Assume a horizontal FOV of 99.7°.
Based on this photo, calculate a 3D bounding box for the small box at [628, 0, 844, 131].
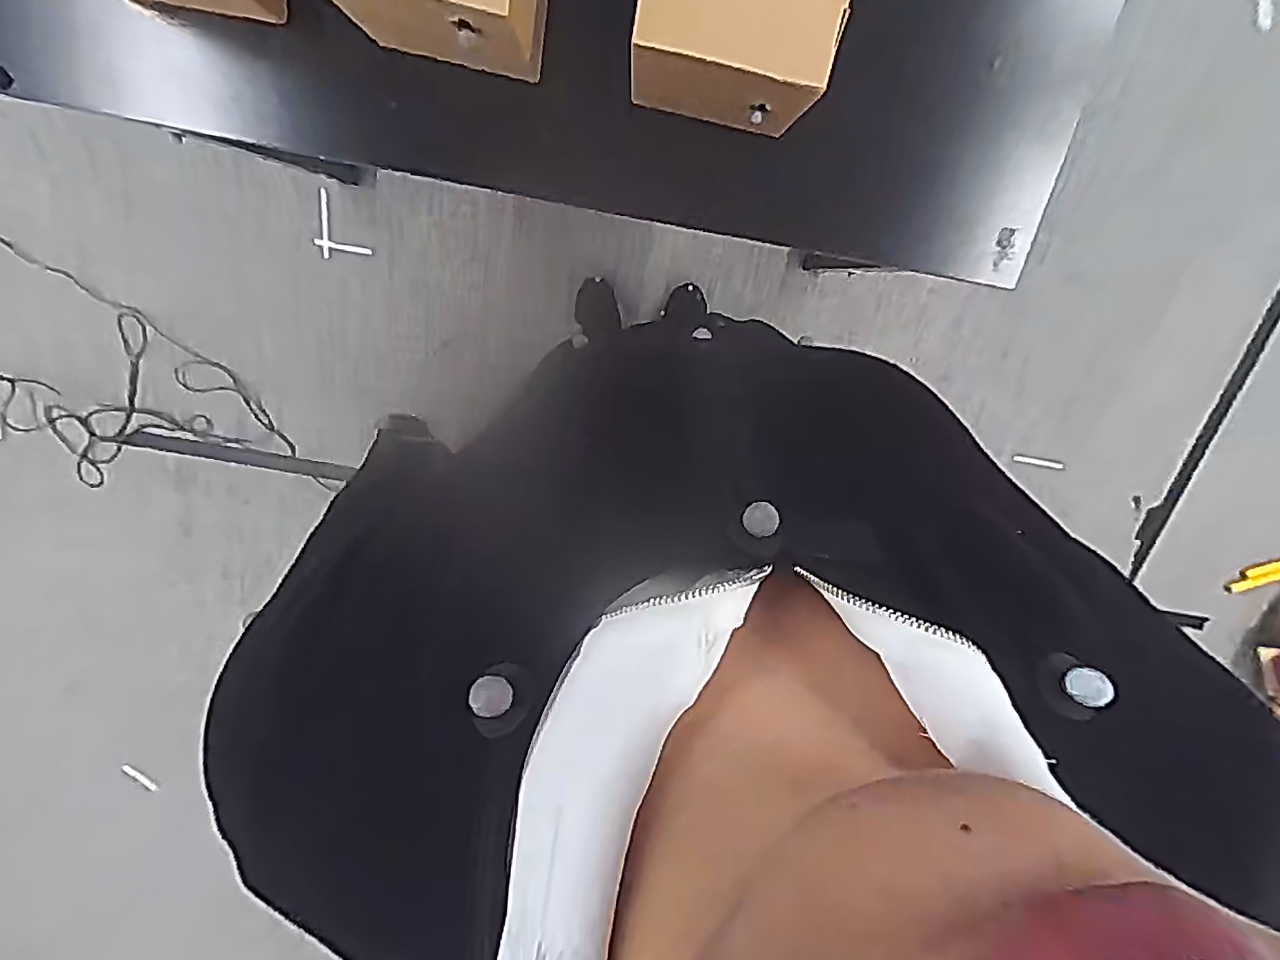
[{"bbox_3d":[0.088,-0.457,0.516,0.179,0.176,0.168,10,109,-4],"label":"small box"}]

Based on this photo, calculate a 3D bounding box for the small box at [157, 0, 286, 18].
[{"bbox_3d":[-0.450,-0.545,0.469,0.179,0.176,0.168,7,111,-4],"label":"small box"}]

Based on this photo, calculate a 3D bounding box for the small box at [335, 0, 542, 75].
[{"bbox_3d":[-0.181,-0.503,0.490,0.179,0.176,0.168,10,110,-5],"label":"small box"}]
